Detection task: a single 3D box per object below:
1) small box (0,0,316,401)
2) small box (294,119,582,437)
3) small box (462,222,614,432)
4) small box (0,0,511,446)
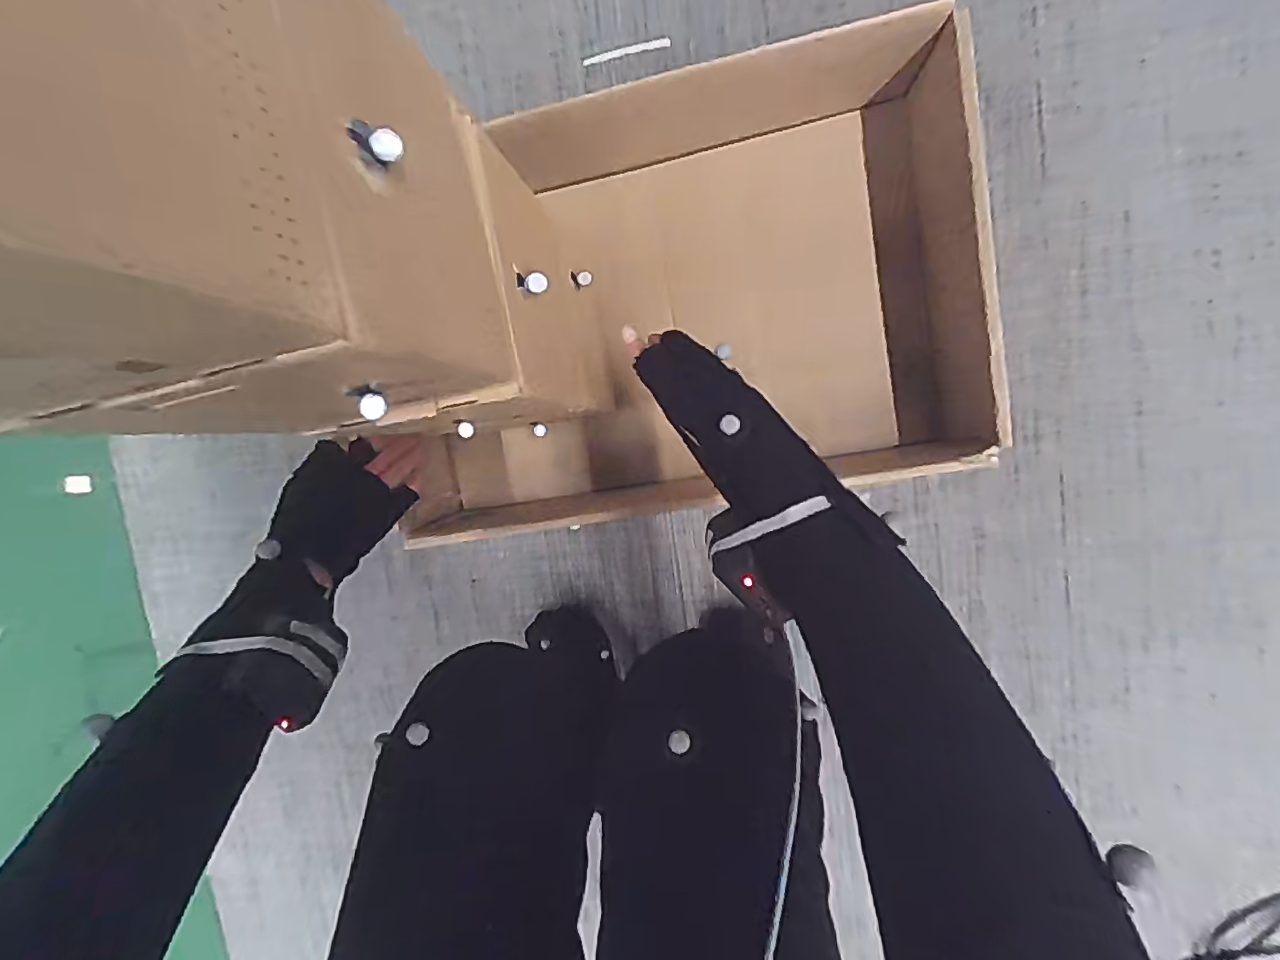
[{"bbox_3d":[-0.200,-0.106,0.100,0.168,0.176,0.179,-10,95,7],"label":"small box"},{"bbox_3d":[-0.153,-0.131,0.423,0.168,0.176,0.179,-8,95,8],"label":"small box"},{"bbox_3d":[-0.130,-0.146,0.583,0.168,0.176,0.179,-7,95,9],"label":"small box"},{"bbox_3d":[-0.178,-0.120,0.262,0.168,0.176,0.179,-10,94,8],"label":"small box"}]
